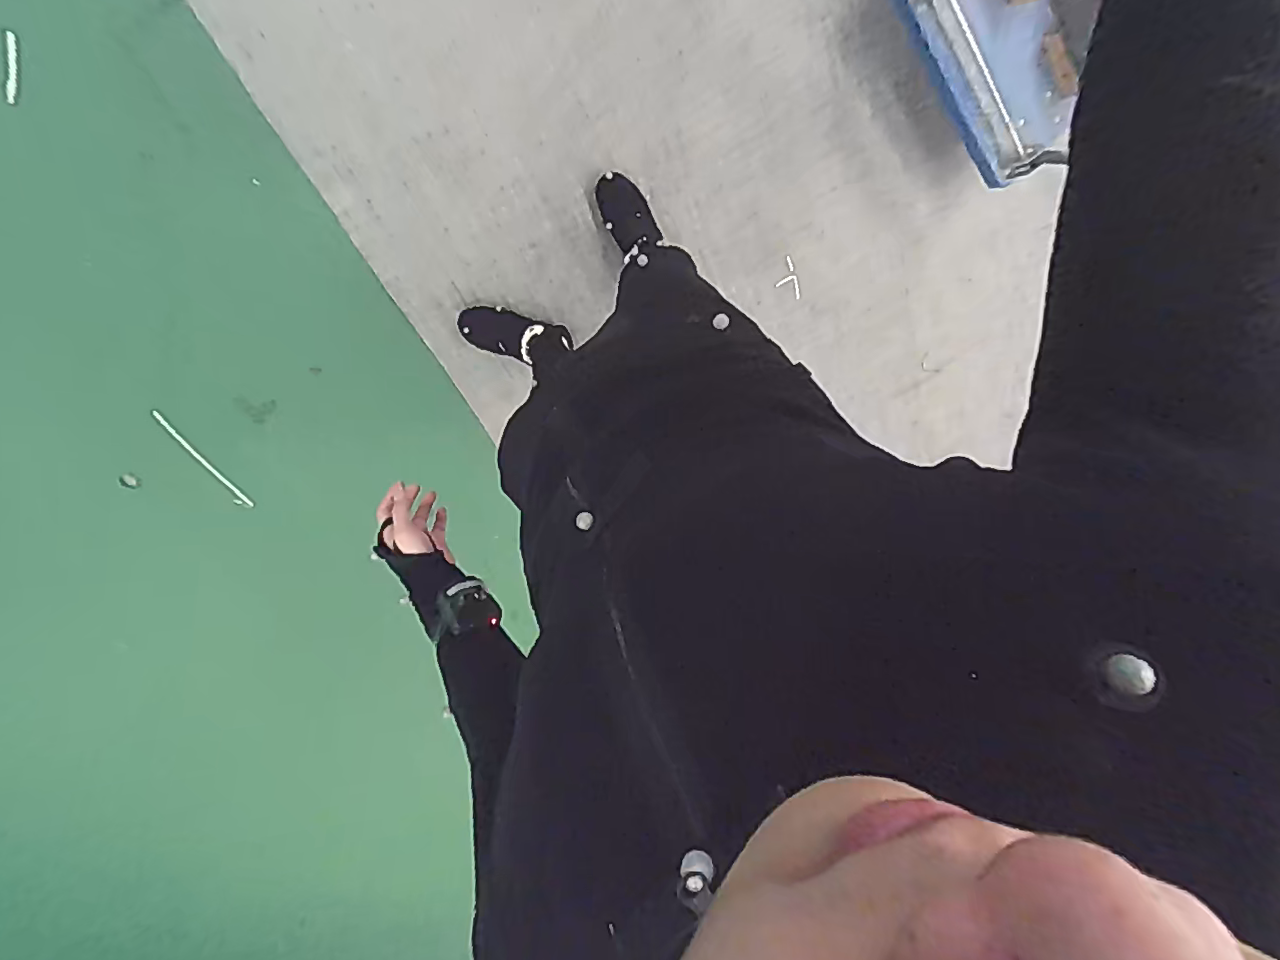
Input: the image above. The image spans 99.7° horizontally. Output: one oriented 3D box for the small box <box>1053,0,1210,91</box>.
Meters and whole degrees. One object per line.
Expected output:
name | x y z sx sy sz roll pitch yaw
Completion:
small box | 1.065 -0.998 1.181 0.179 0.176 0.168 -45 120 13
